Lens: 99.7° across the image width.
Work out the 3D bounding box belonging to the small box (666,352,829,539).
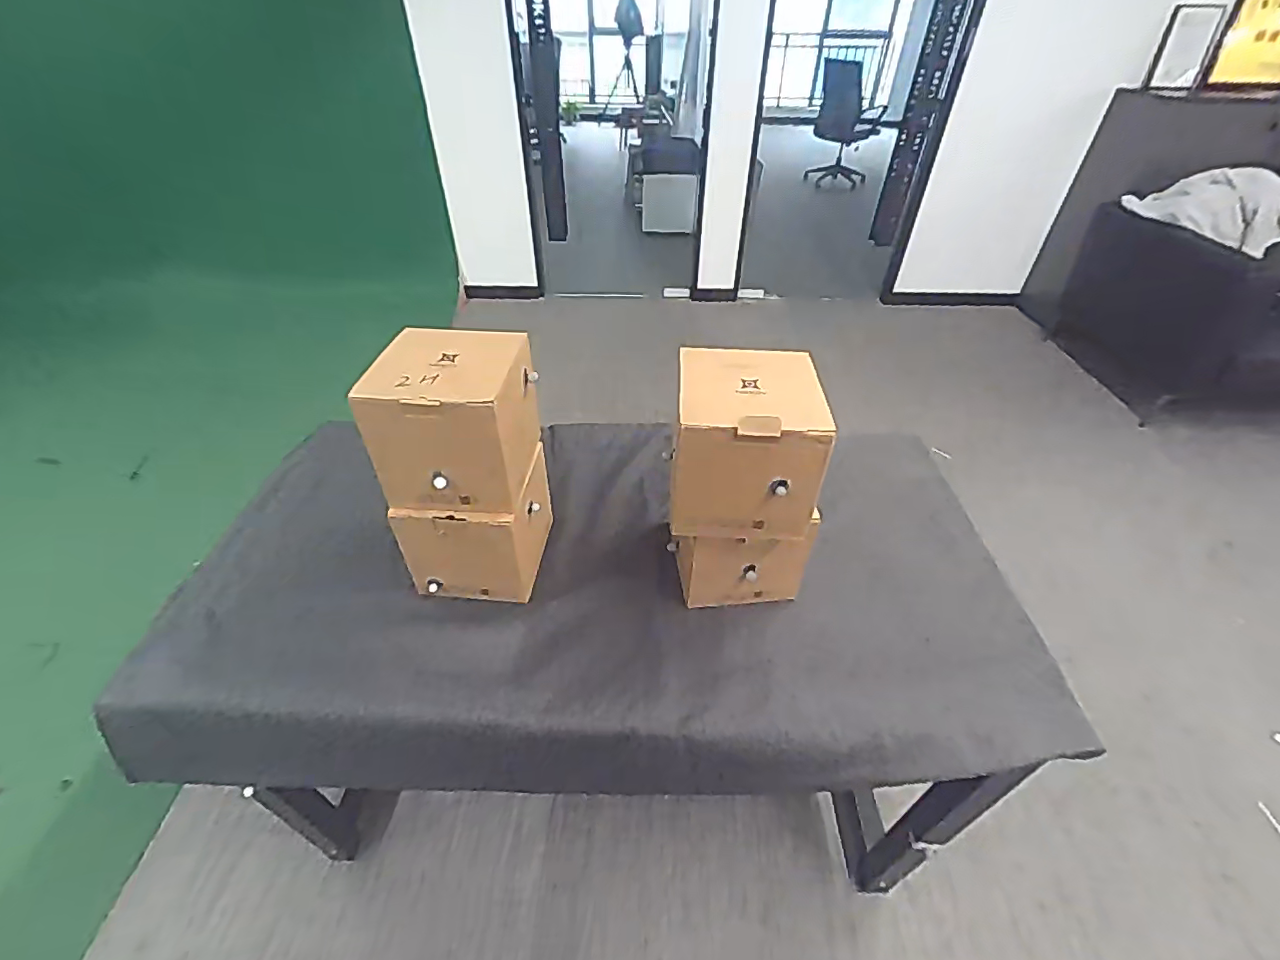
[{"bbox_3d":[0.122,-0.044,0.679,0.168,0.176,0.179,3,39,1],"label":"small box"}]

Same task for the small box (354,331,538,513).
[{"bbox_3d":[-0.235,-0.078,0.710,0.168,0.176,0.179,2,41,2],"label":"small box"}]

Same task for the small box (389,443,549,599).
[{"bbox_3d":[-0.236,0.057,0.805,0.168,0.176,0.179,4,40,3],"label":"small box"}]

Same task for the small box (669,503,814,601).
[{"bbox_3d":[0.137,0.065,0.803,0.168,0.176,0.179,-4,41,-5],"label":"small box"}]
